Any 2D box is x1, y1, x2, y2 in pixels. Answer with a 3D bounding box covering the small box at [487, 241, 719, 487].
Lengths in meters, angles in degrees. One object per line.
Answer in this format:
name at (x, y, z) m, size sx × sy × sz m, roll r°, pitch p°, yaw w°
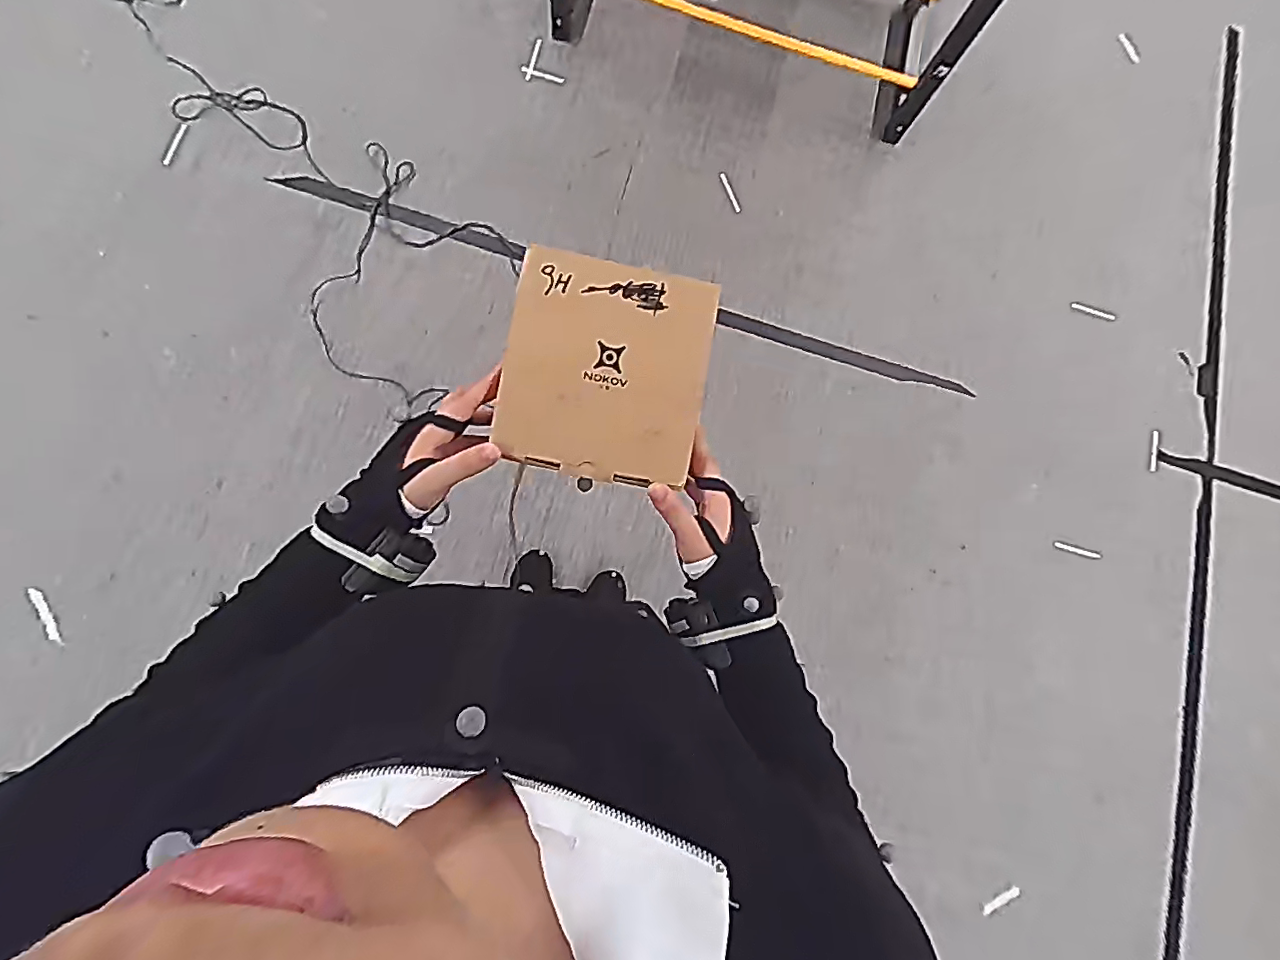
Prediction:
small box at (-0.035, -0.095, 0.522) m, size 0.168 × 0.176 × 0.179 m, roll 11°, pitch 89°, yaw -5°
